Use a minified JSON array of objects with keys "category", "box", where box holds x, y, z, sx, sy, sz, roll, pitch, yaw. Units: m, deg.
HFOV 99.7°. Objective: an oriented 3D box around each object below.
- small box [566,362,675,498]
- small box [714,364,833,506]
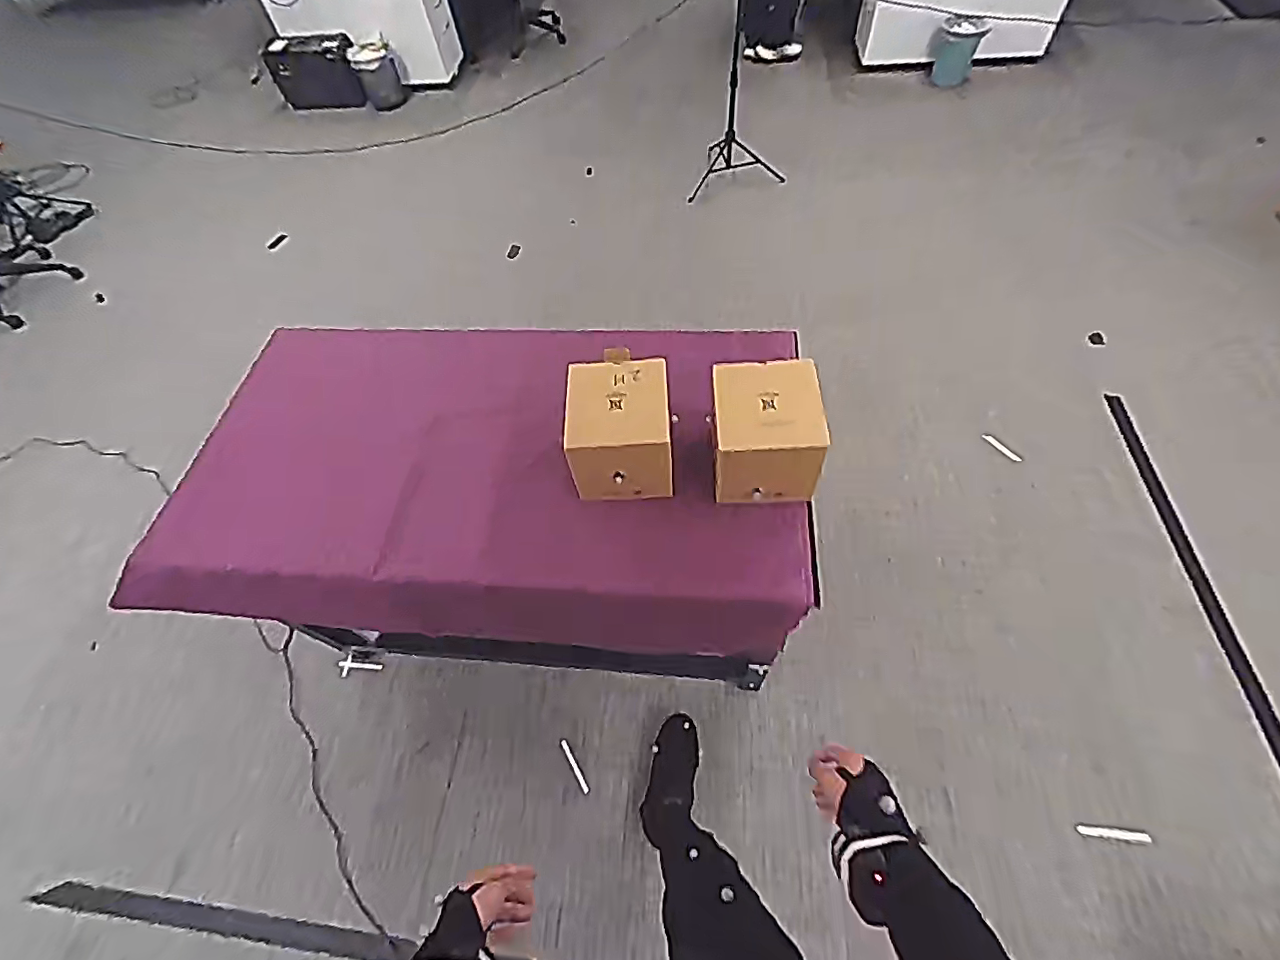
[{"category":"small box","box":[-0.026,-0.078,0.935,0.168,0.176,0.179,-3,57,3]},{"category":"small box","box":[0.212,-0.072,0.909,0.168,0.176,0.179,-2,57,6]}]
